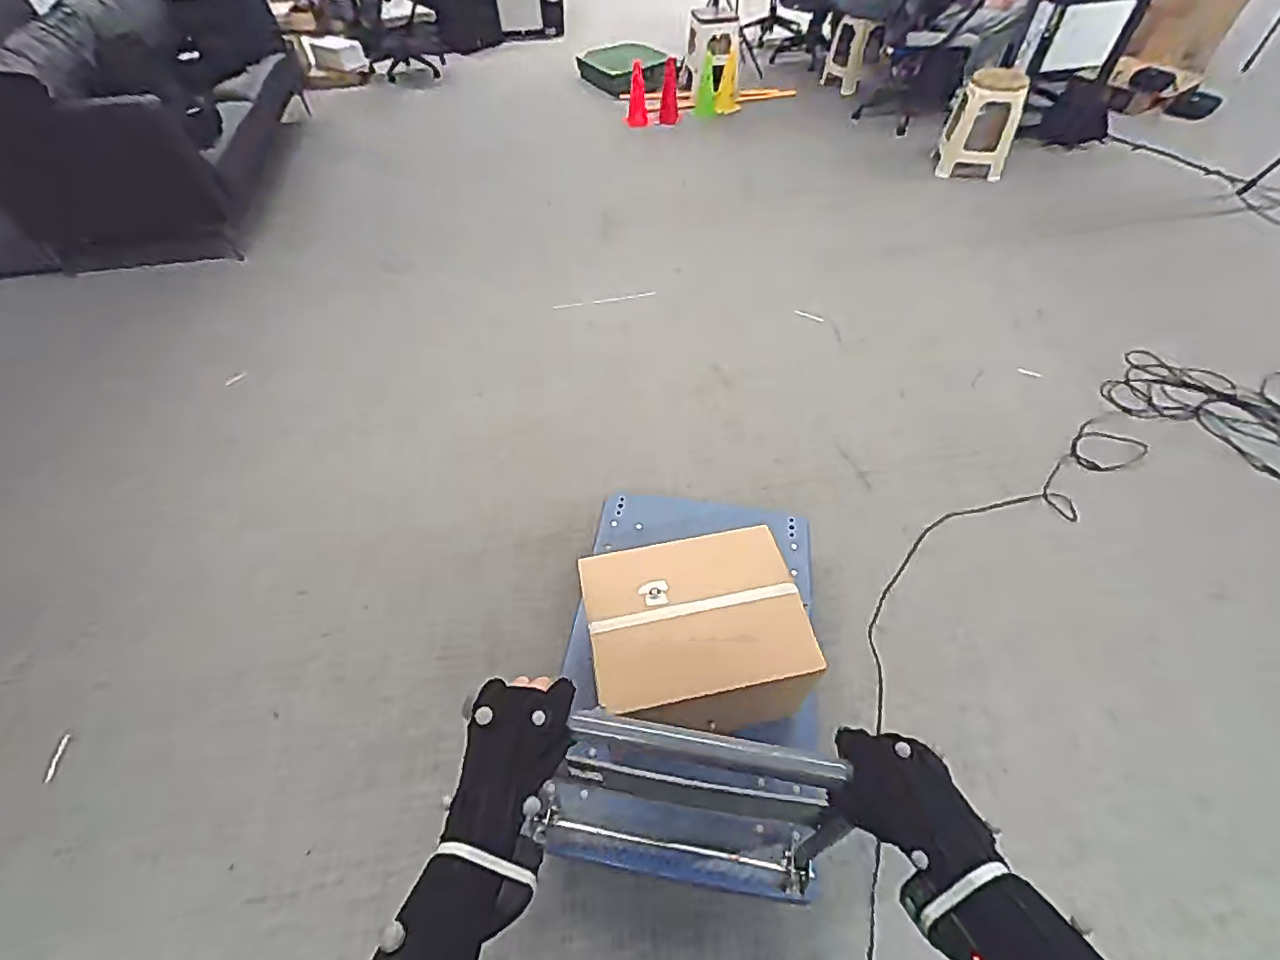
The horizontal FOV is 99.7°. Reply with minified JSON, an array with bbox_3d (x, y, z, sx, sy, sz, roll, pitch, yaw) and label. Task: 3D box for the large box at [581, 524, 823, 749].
[{"bbox_3d":[0.109,0.334,1.141,0.408,0.320,0.320,-10,51,-5],"label":"large box"}]
